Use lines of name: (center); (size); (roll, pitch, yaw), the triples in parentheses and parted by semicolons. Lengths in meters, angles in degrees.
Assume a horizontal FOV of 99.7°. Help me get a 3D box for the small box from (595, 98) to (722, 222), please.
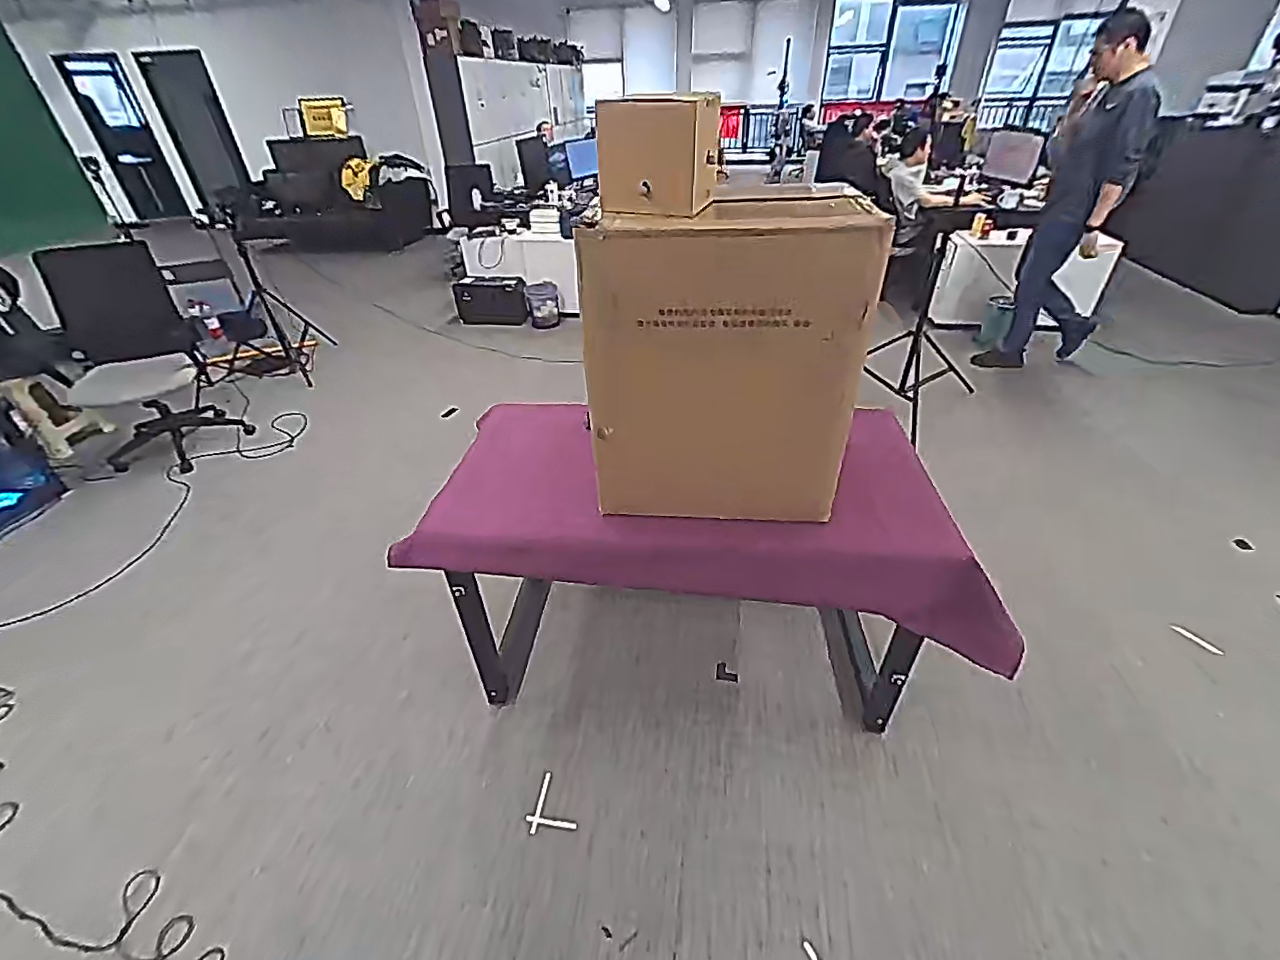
small box: (0.036, -0.568, 0.960); (0.179, 0.176, 0.168); (12, 40, 17)
